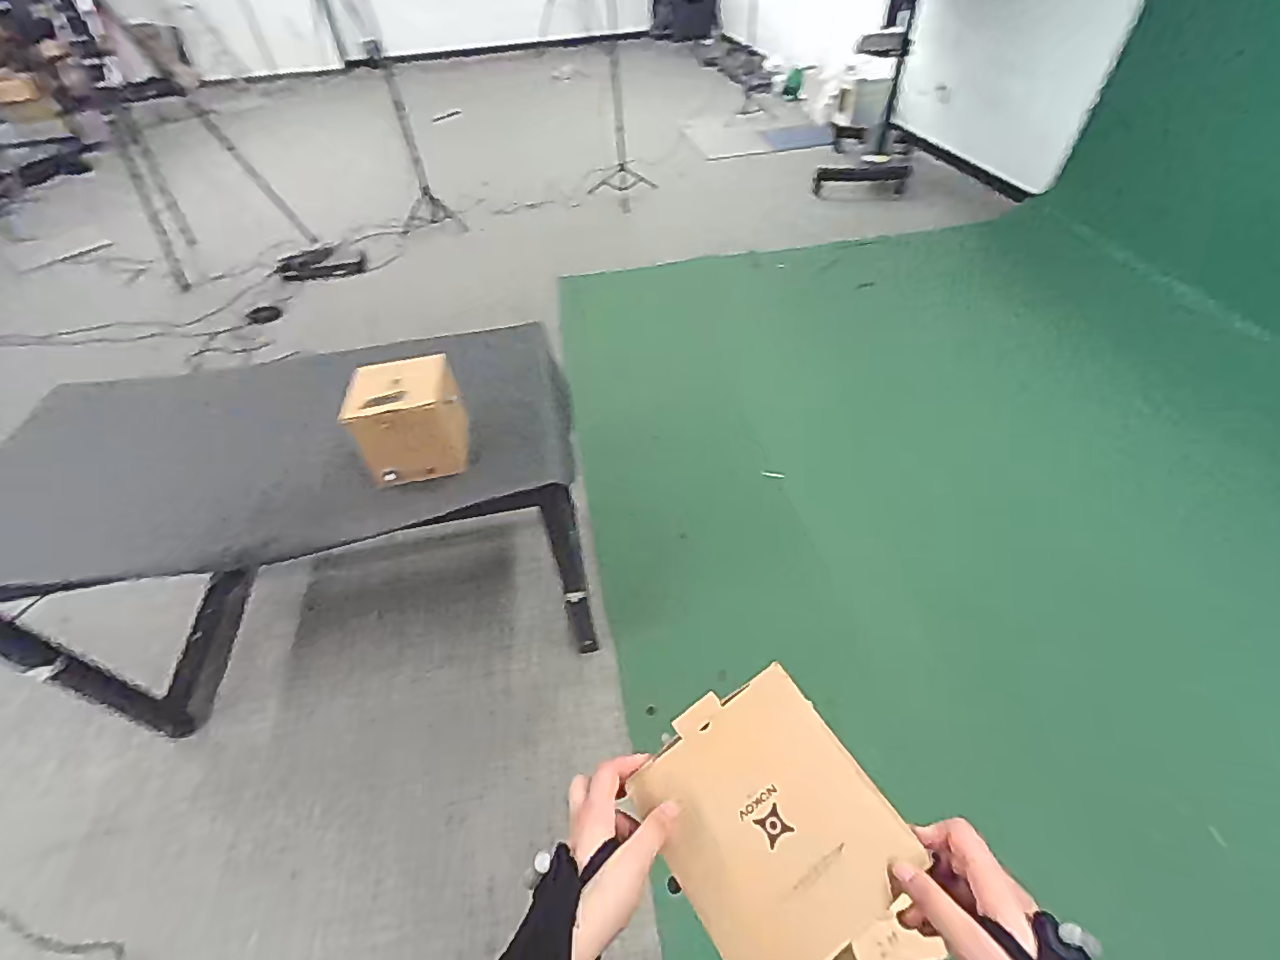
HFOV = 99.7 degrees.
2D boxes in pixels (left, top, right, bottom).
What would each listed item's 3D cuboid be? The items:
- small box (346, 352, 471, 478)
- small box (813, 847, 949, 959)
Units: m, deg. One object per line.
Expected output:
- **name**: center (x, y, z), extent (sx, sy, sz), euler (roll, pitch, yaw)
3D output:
- **small box**: center (-0.435, -0.119, 1.048), extent (0.168, 0.176, 0.179), euler (-10, 44, -5)
- **small box**: center (0.464, 0.864, 1.075), extent (0.168, 0.176, 0.179), euler (-11, 48, -5)
